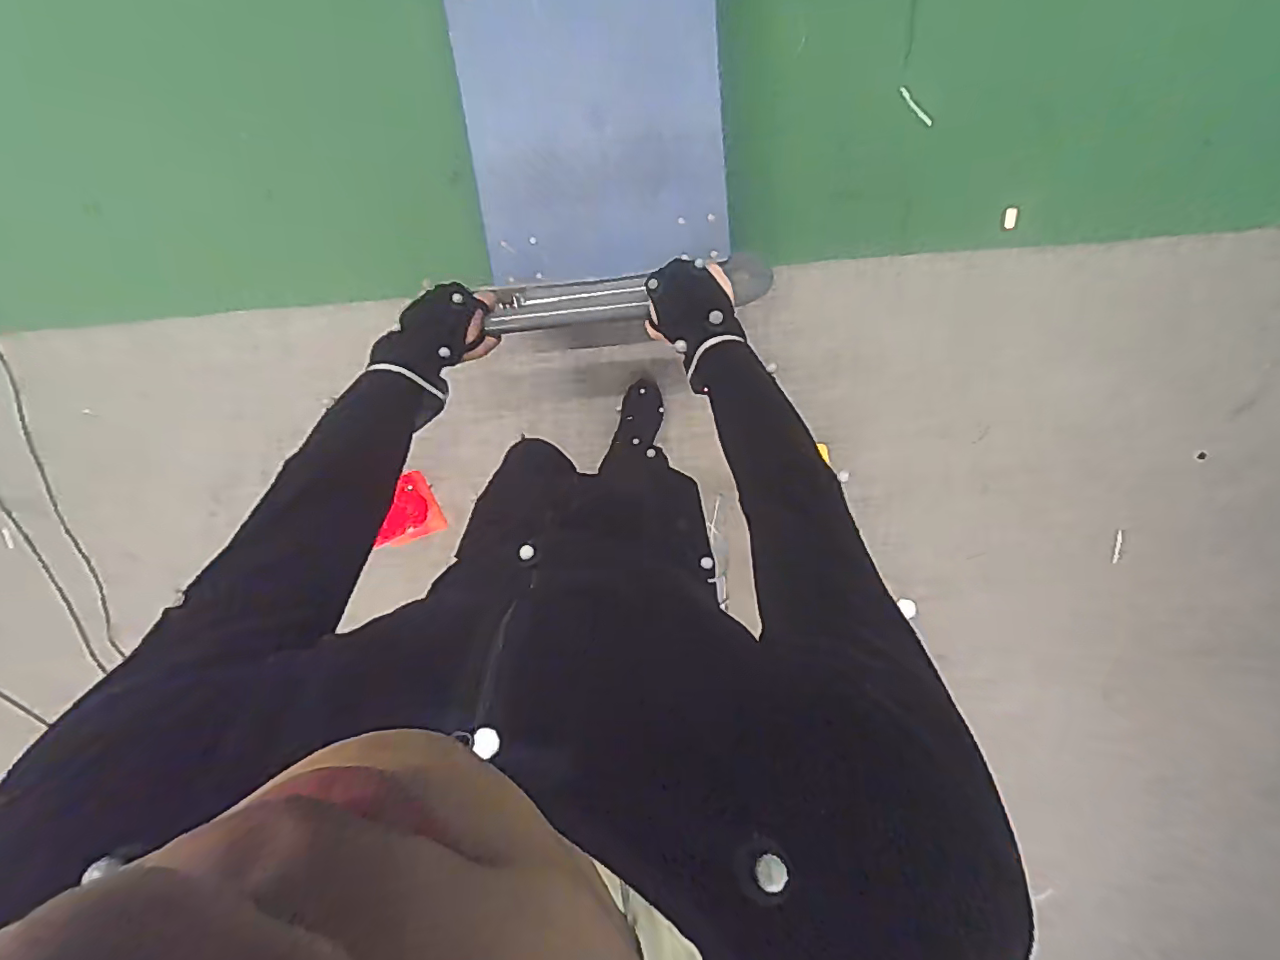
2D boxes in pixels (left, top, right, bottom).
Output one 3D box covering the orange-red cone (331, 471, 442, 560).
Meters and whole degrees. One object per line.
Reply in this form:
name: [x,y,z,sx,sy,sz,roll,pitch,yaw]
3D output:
orange-red cone: [-0.724,0.131,1.472,0.199,0.360,0.198,-17,105,7]
